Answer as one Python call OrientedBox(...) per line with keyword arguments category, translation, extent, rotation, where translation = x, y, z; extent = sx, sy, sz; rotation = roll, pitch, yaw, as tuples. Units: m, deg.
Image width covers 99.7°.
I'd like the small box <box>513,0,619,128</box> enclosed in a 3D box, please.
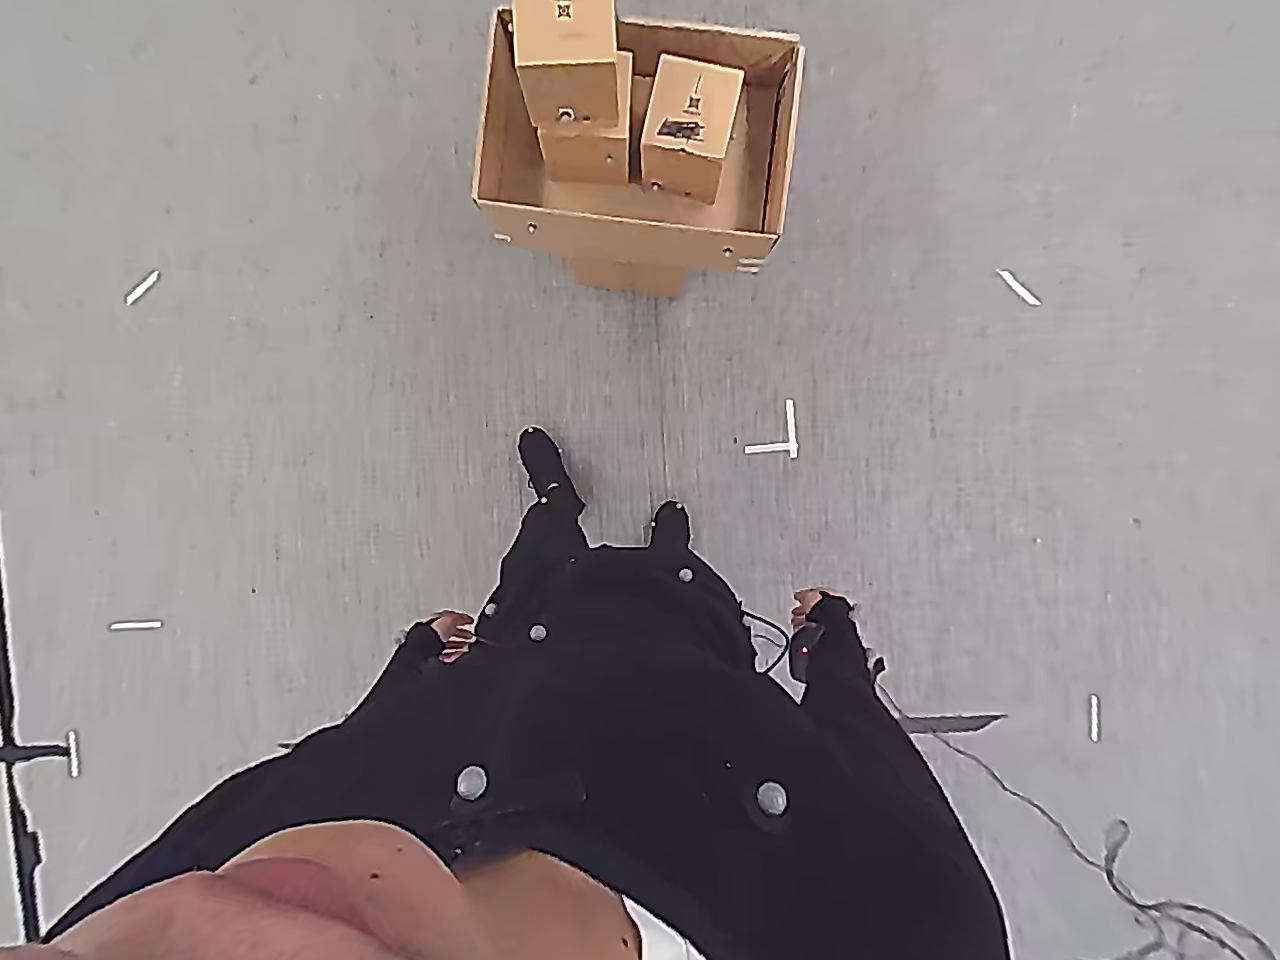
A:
OrientedBox(category="small box", translation=(-0.122, -0.750, 0.938), extent=(0.168, 0.176, 0.179), rotation=(-2, 91, 0))
